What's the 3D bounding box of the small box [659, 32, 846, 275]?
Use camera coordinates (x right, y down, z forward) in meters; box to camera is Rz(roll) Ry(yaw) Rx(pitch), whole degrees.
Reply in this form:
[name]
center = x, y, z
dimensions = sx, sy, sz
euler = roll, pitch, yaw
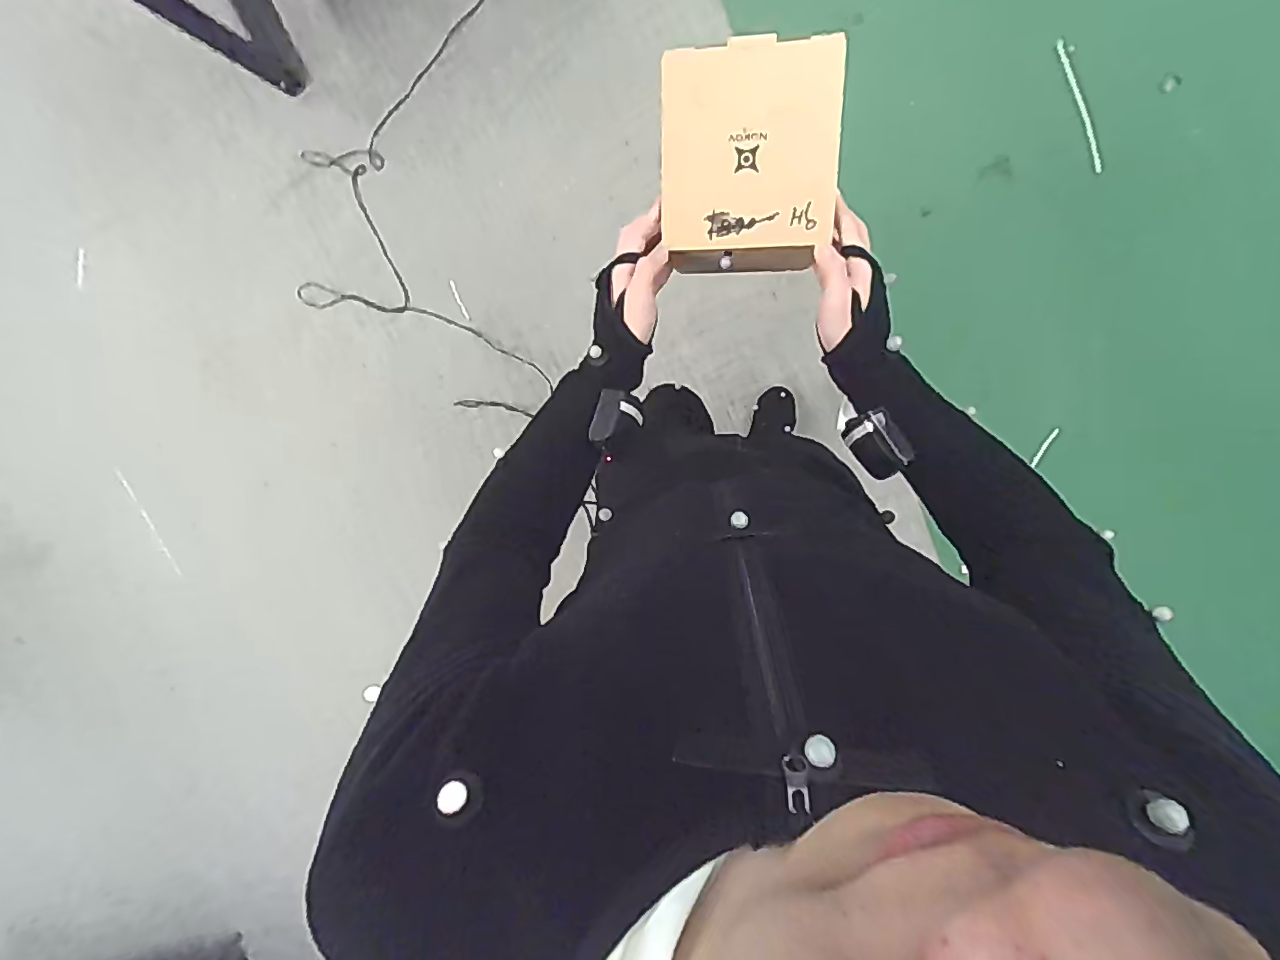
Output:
[small box]
center = 0.111, -0.325, 0.575
dimensions = 0.168, 0.176, 0.179
euler = 2, 103, 9
